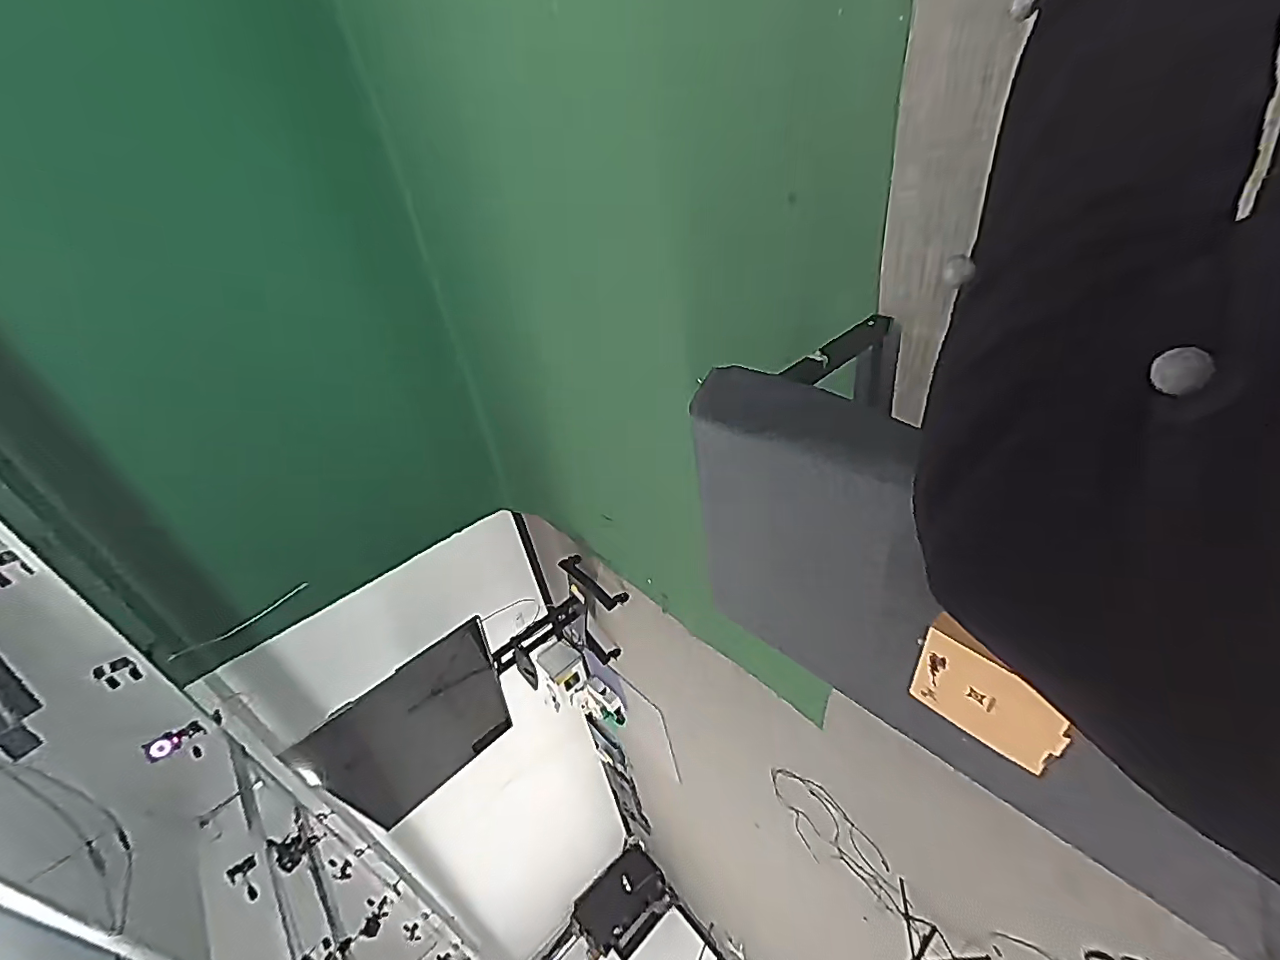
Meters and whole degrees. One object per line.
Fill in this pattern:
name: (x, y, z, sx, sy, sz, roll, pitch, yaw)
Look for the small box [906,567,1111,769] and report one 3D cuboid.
small box: (0.515, 0.253, 0.765, 0.179, 0.176, 0.168, 30, 142, 40)
